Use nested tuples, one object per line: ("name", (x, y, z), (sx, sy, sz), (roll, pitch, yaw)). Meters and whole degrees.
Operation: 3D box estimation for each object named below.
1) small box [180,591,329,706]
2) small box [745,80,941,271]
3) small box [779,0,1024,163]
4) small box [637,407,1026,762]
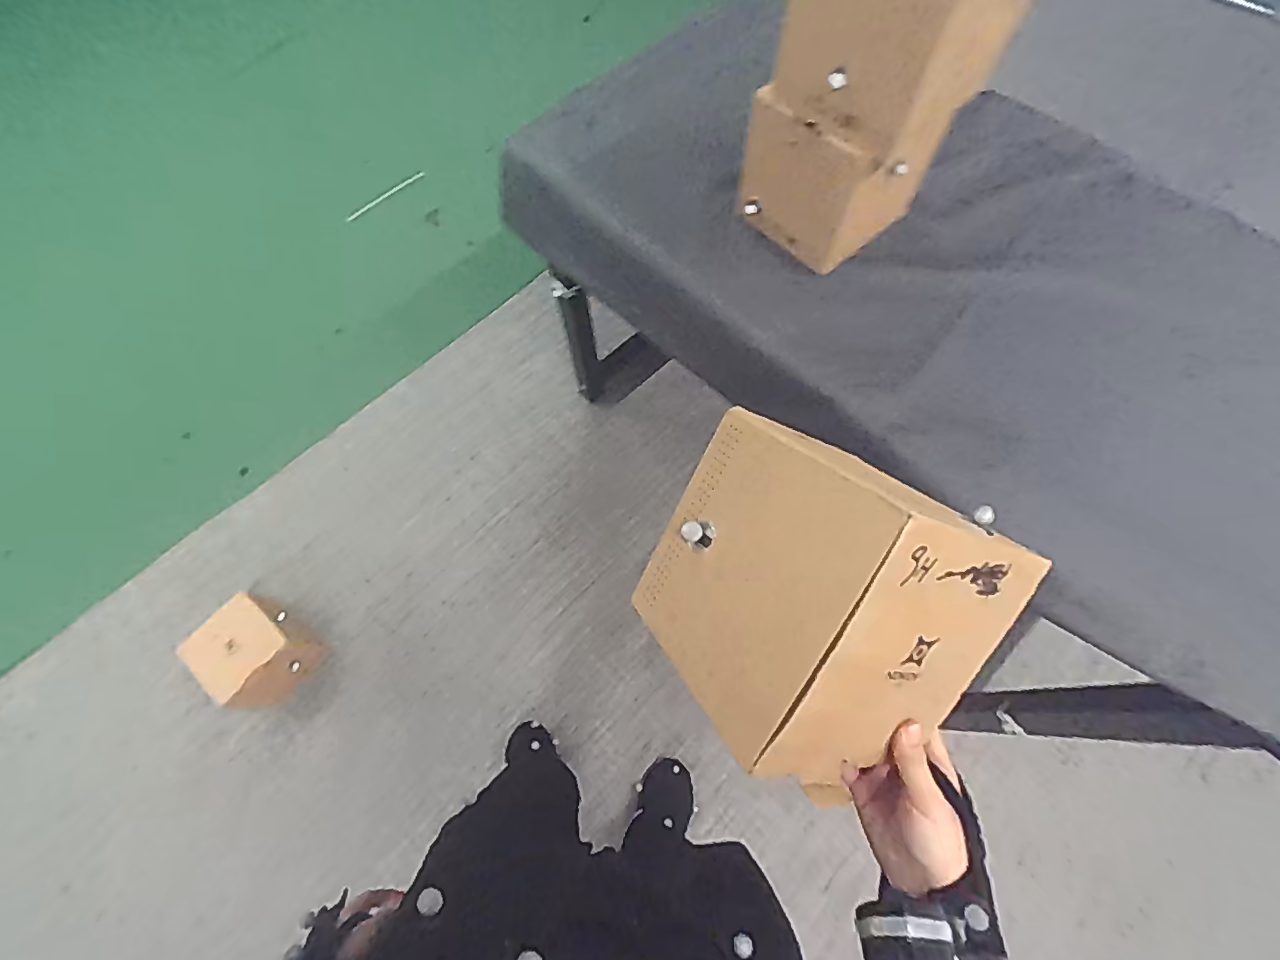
("small box", (-0.838, 0.376, 1.196), (0.179, 0.176, 0.168), (36, 71, 17))
("small box", (0.254, -0.411, 0.704), (0.179, 0.176, 0.168), (-39, 71, -15))
("small box", (0.267, -0.471, 0.550), (0.179, 0.176, 0.168), (-42, 71, -15))
("small box", (0.117, 0.070, 0.395), (0.176, 0.168, 0.179), (45, 115, 54))
